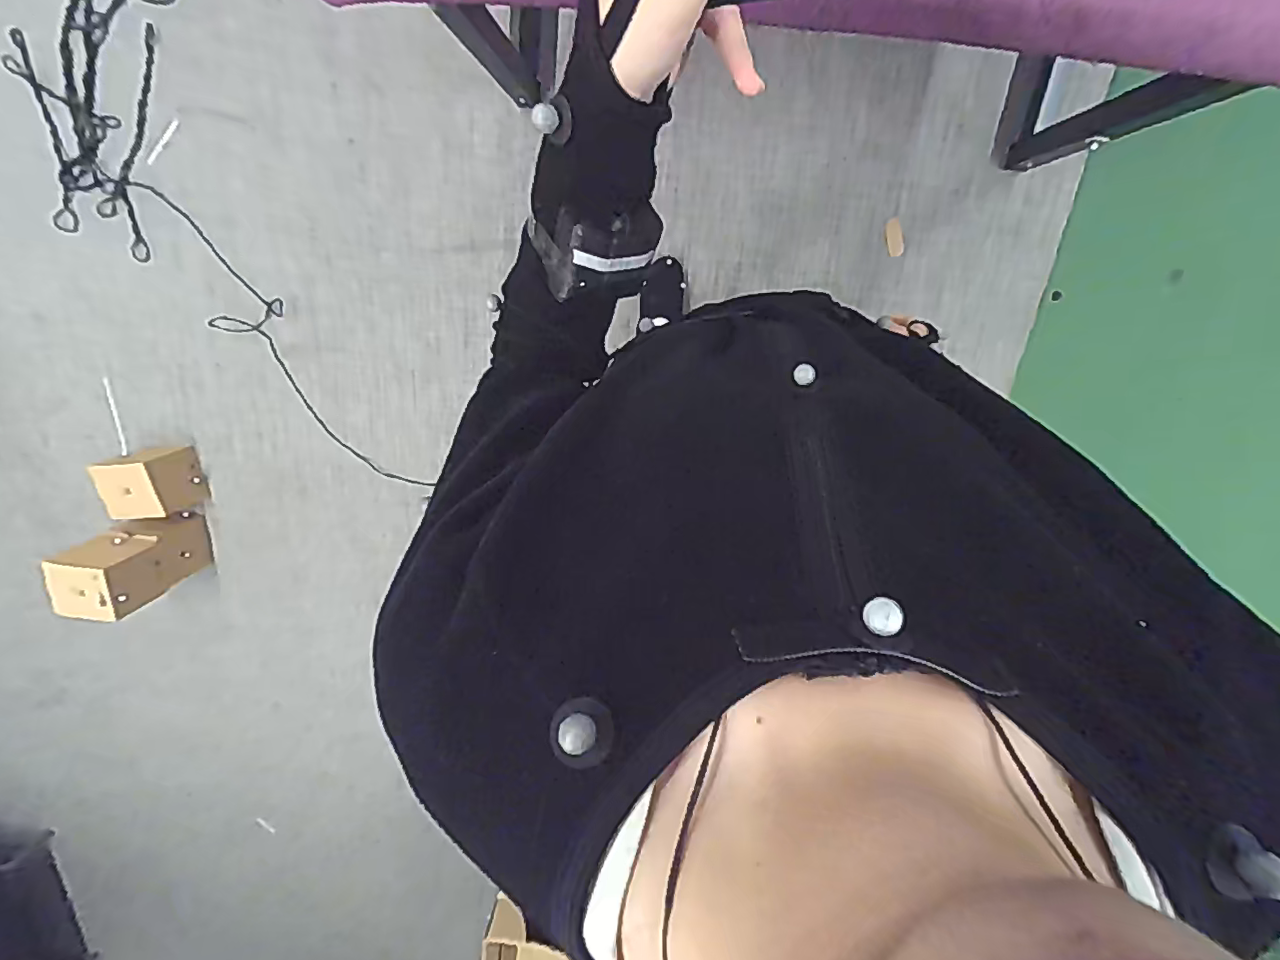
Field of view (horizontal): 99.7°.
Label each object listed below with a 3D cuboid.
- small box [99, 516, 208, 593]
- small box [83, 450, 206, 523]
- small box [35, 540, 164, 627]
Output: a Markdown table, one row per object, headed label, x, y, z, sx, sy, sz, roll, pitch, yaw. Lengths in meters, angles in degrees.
| label | x | y | z | sx | sy | sz | roll | pitch | yaw |
| --- | --- | --- | --- | --- | --- | --- | --- | --- | --- |
| small box | -1.471 | 0.220 | 1.648 | 0.168 | 0.176 | 0.179 | 6 | 110 | 3 |
| small box | -1.432 | 0.015 | 1.575 | 0.179 | 0.176 | 0.168 | -3 | 110 | 5 |
| small box | -1.483 | 0.279 | 1.496 | 0.179 | 0.176 | 0.168 | 8 | 110 | 3 |
